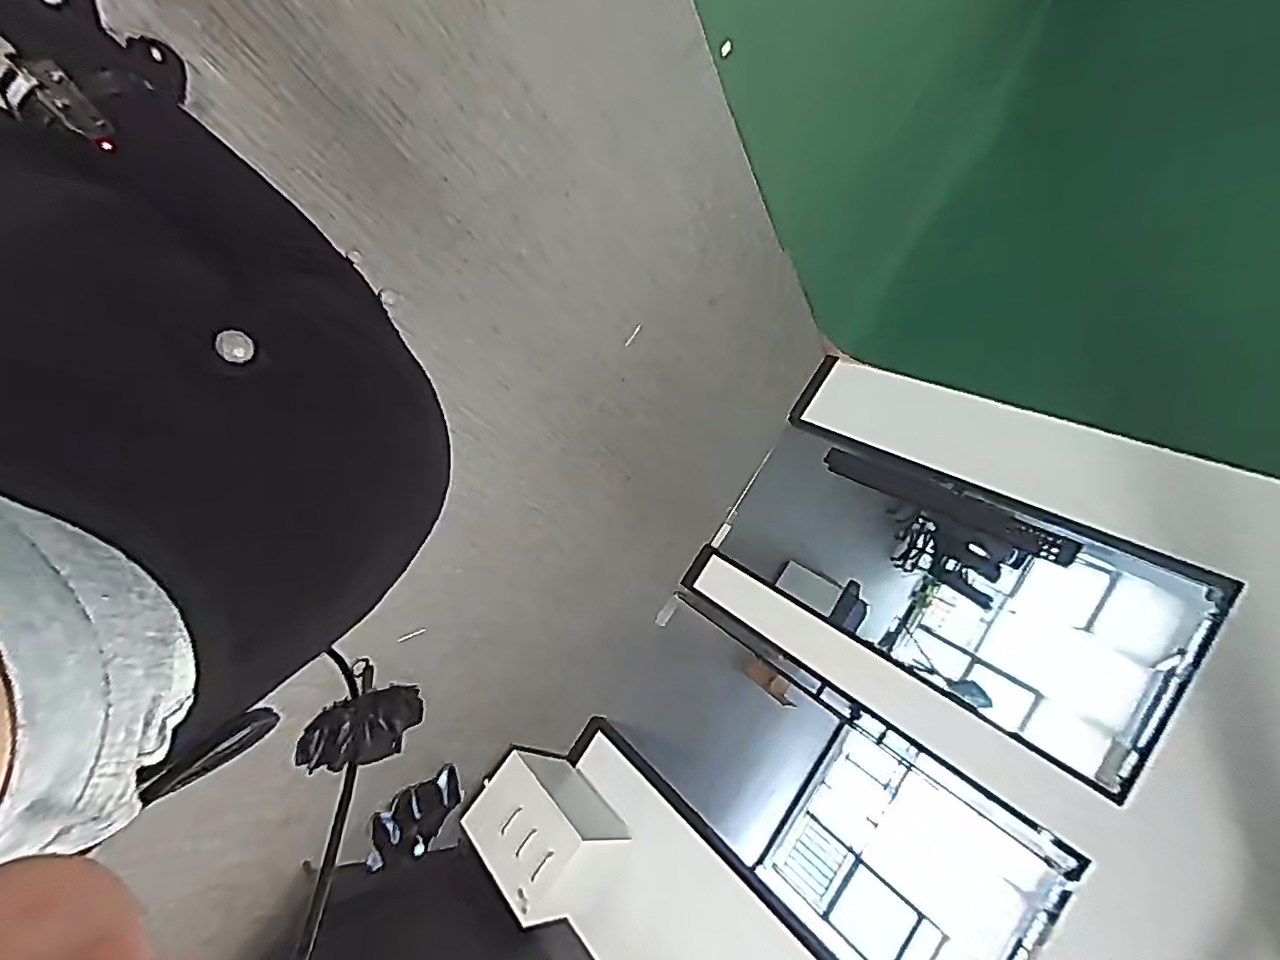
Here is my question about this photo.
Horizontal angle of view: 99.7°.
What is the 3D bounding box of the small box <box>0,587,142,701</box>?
[{"bbox_3d":[-1.261,0.359,1.193,0.179,0.176,0.168,-59,143,-4],"label":"small box"}]
